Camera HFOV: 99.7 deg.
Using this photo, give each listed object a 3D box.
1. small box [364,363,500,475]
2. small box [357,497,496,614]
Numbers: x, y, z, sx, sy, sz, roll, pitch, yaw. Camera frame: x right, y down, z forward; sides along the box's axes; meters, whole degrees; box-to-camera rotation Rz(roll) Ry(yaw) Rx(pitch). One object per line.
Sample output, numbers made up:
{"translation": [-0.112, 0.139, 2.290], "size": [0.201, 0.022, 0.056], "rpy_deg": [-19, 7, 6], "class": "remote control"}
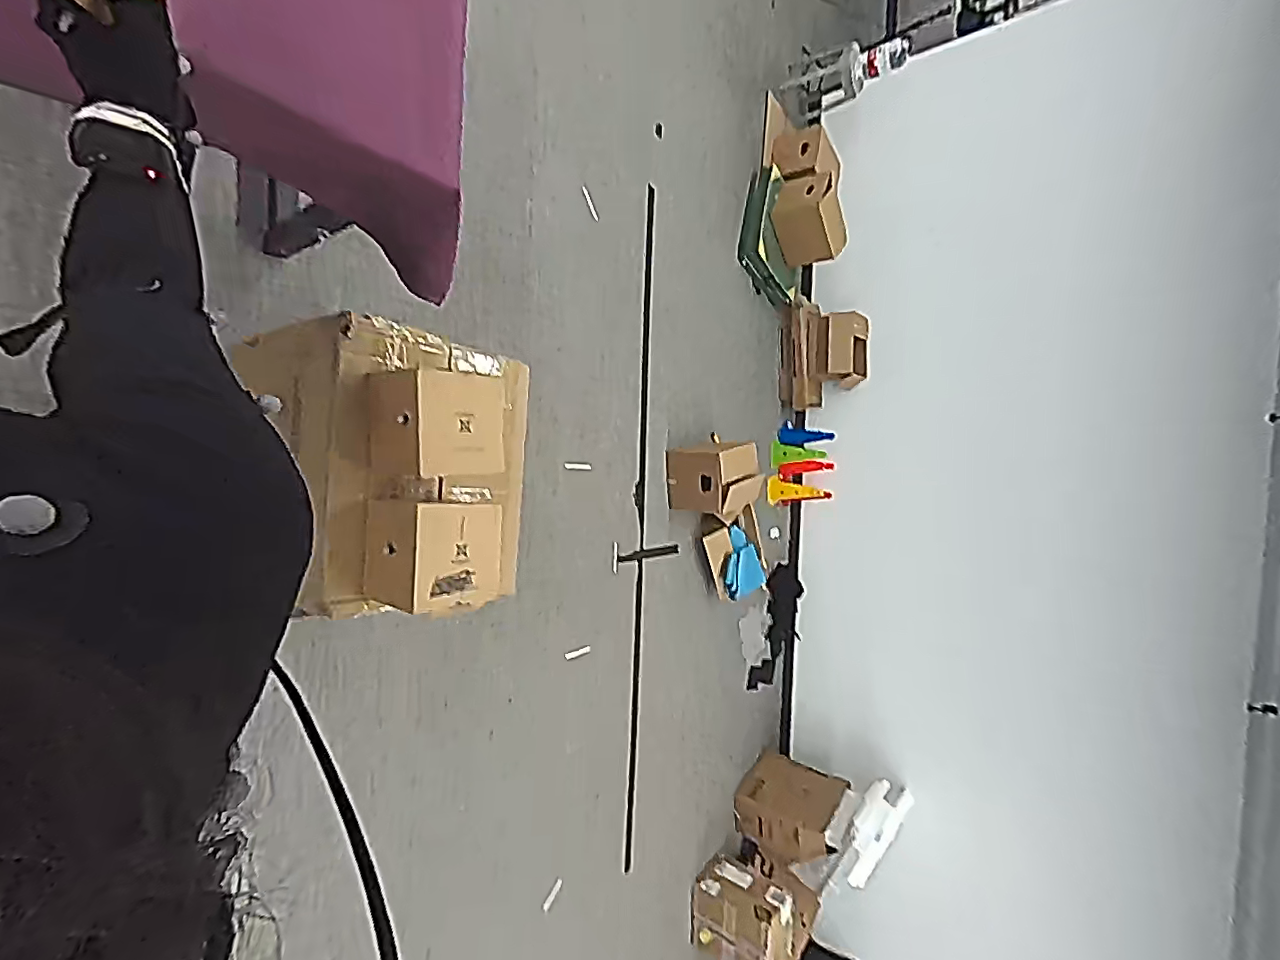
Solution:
{"translation": [-0.363, -0.102, 0.945], "size": [0.168, 0.176, 0.179], "rpy_deg": [-5, 98, -52], "class": "small box"}
{"translation": [-0.374, 0.122, 0.946], "size": [0.168, 0.176, 0.179], "rpy_deg": [3, 88, -53], "class": "small box"}
